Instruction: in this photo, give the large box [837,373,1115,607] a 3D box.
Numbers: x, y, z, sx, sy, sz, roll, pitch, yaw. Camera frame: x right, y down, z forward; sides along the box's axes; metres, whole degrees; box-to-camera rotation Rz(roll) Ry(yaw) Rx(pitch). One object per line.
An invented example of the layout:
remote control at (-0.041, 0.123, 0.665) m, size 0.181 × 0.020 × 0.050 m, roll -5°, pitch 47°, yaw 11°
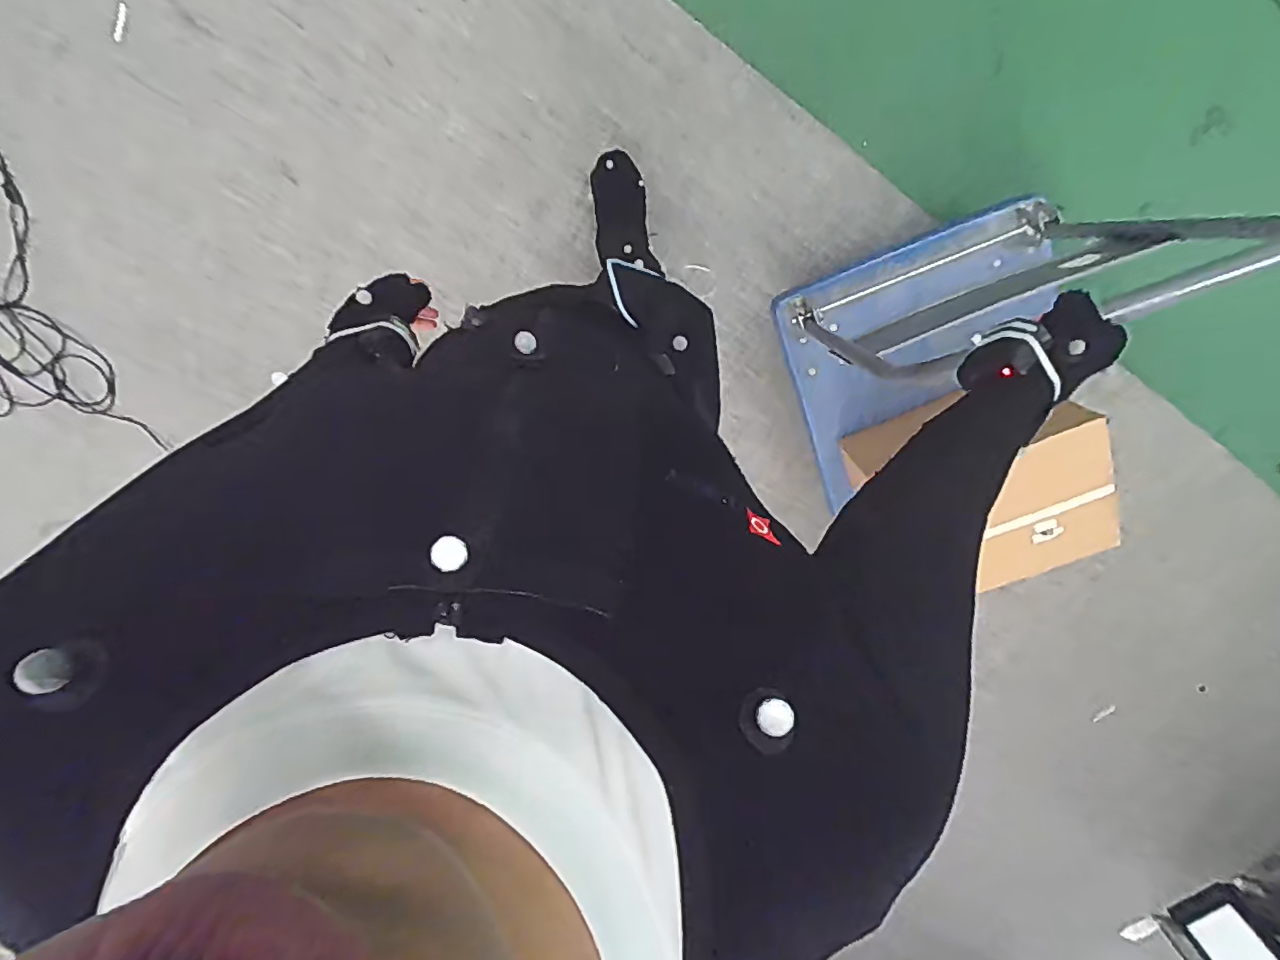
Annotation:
large box at (0.724, 0.013, 1.213) m, size 0.408 × 0.320 × 0.320 m, roll -24°, pitch 115°, yaw 10°
